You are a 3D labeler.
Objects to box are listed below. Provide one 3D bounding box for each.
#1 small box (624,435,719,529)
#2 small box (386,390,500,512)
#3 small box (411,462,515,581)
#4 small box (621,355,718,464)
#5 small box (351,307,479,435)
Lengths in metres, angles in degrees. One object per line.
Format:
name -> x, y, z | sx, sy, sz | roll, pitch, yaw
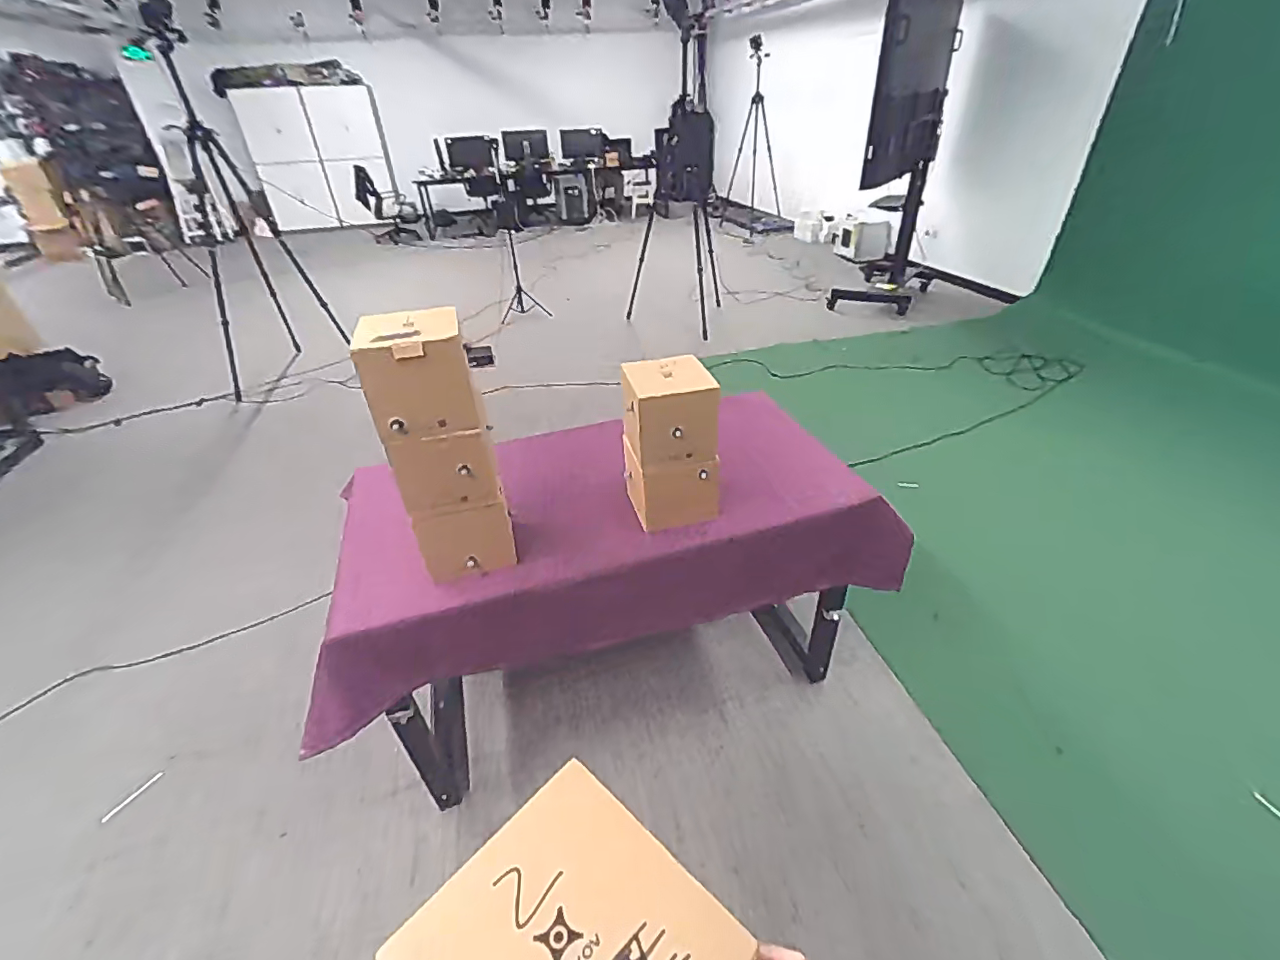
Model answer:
small box -> 0.070, -0.007, 1.230 | 0.179, 0.176, 0.168 | -10, 35, -11
small box -> -0.370, -0.052, 1.044 | 0.168, 0.176, 0.179 | -10, 35, -10
small box -> -0.362, 0.085, 1.133 | 0.179, 0.176, 0.168 | -11, 35, -12
small box -> 0.061, -0.145, 1.141 | 0.168, 0.176, 0.179 | -9, 35, -9
small box -> -0.385, -0.188, 0.953 | 0.168, 0.176, 0.179 | -12, 35, -13
